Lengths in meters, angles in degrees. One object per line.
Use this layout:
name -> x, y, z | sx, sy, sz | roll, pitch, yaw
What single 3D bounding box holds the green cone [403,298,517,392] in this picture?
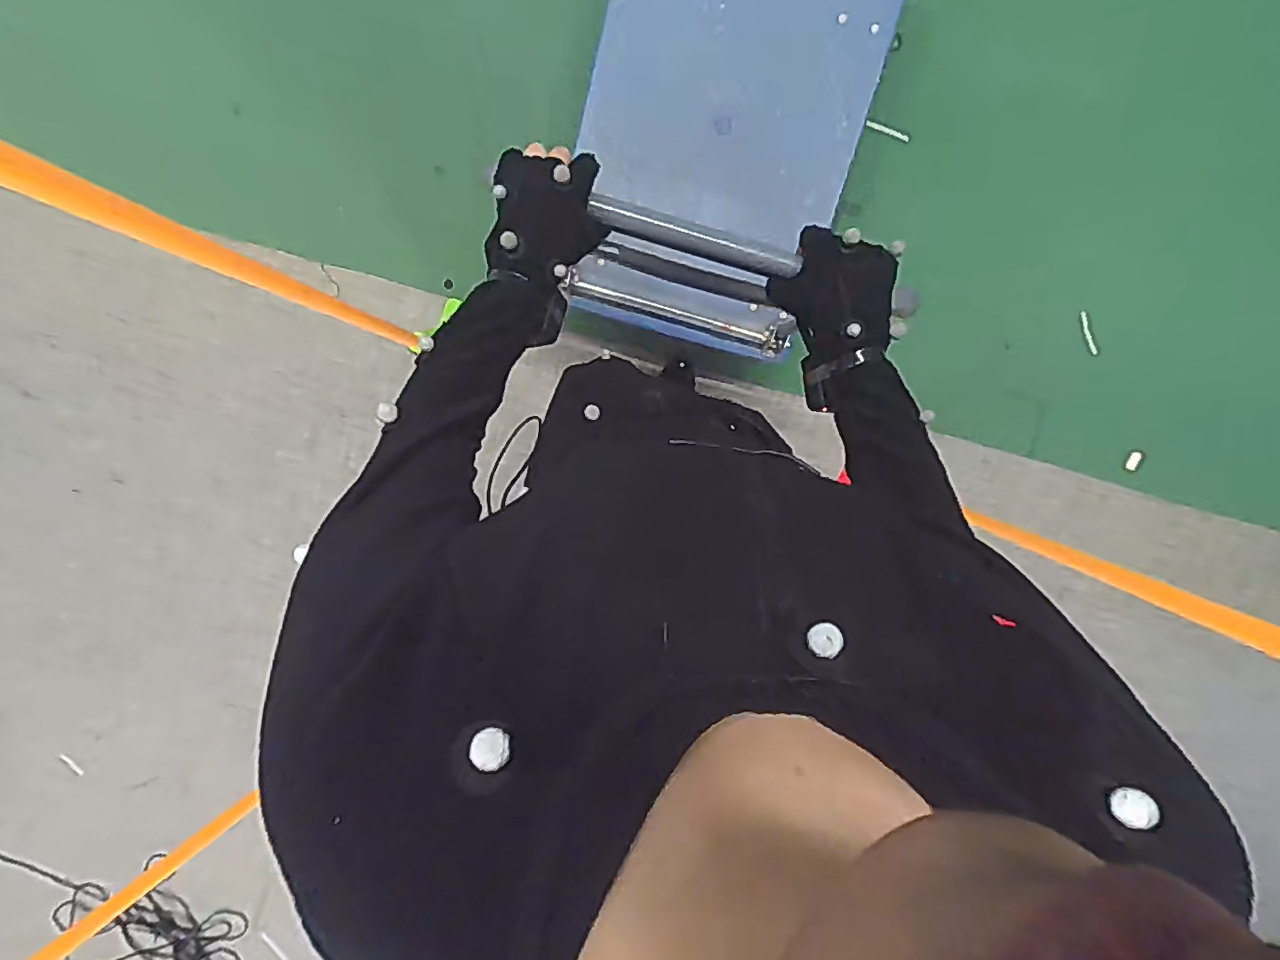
green cone -> -0.439, -0.317, 1.238 | 0.202, 0.368, 0.200 | 20, 101, -3
